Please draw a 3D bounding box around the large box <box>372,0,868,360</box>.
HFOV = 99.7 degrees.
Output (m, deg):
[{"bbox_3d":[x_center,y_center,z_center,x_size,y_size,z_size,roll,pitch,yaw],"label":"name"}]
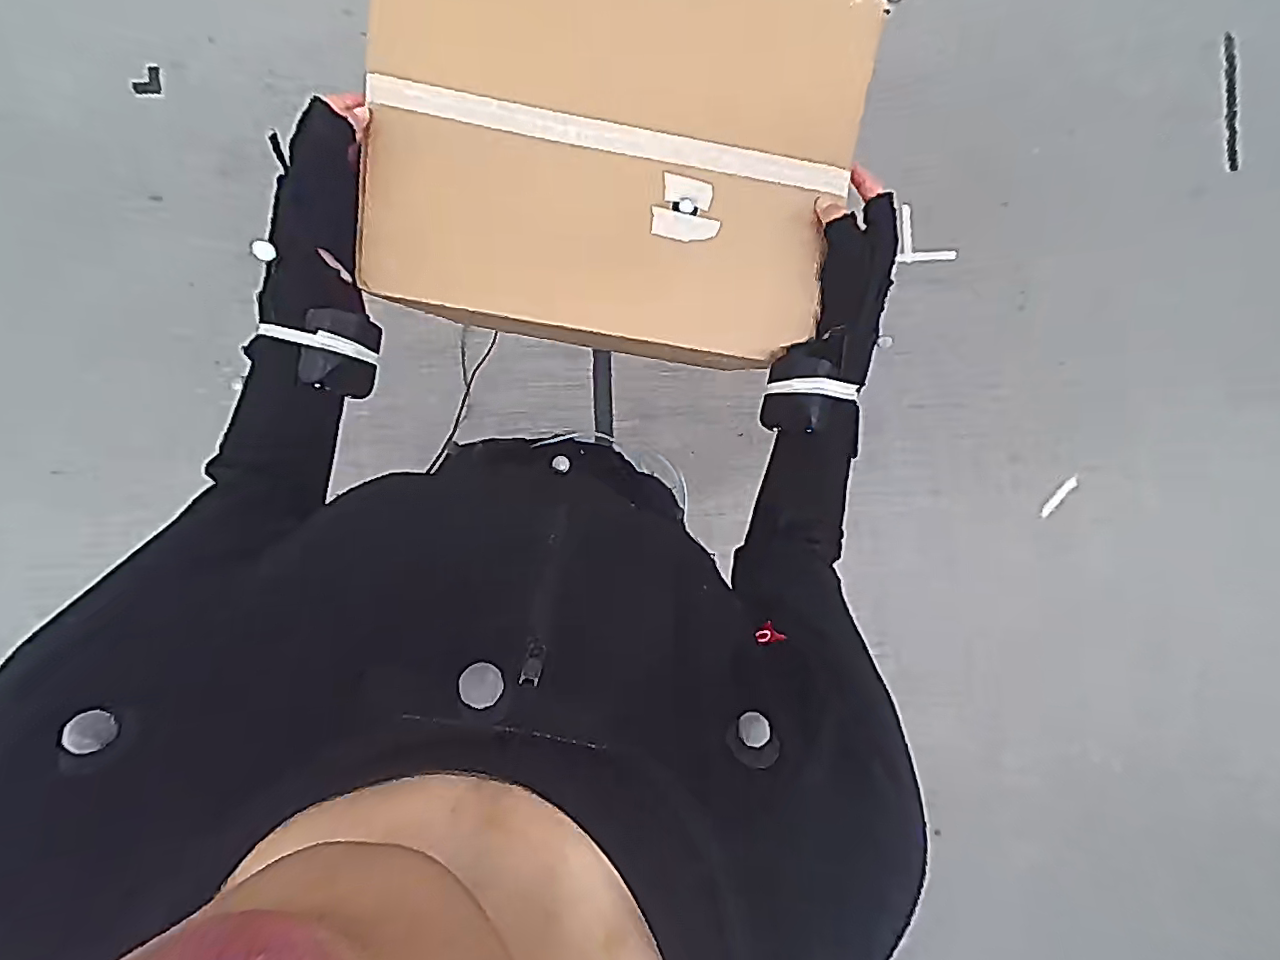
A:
[{"bbox_3d":[-0.033,-0.321,0.613,0.408,0.320,0.320,8,102,-6],"label":"large box"}]
